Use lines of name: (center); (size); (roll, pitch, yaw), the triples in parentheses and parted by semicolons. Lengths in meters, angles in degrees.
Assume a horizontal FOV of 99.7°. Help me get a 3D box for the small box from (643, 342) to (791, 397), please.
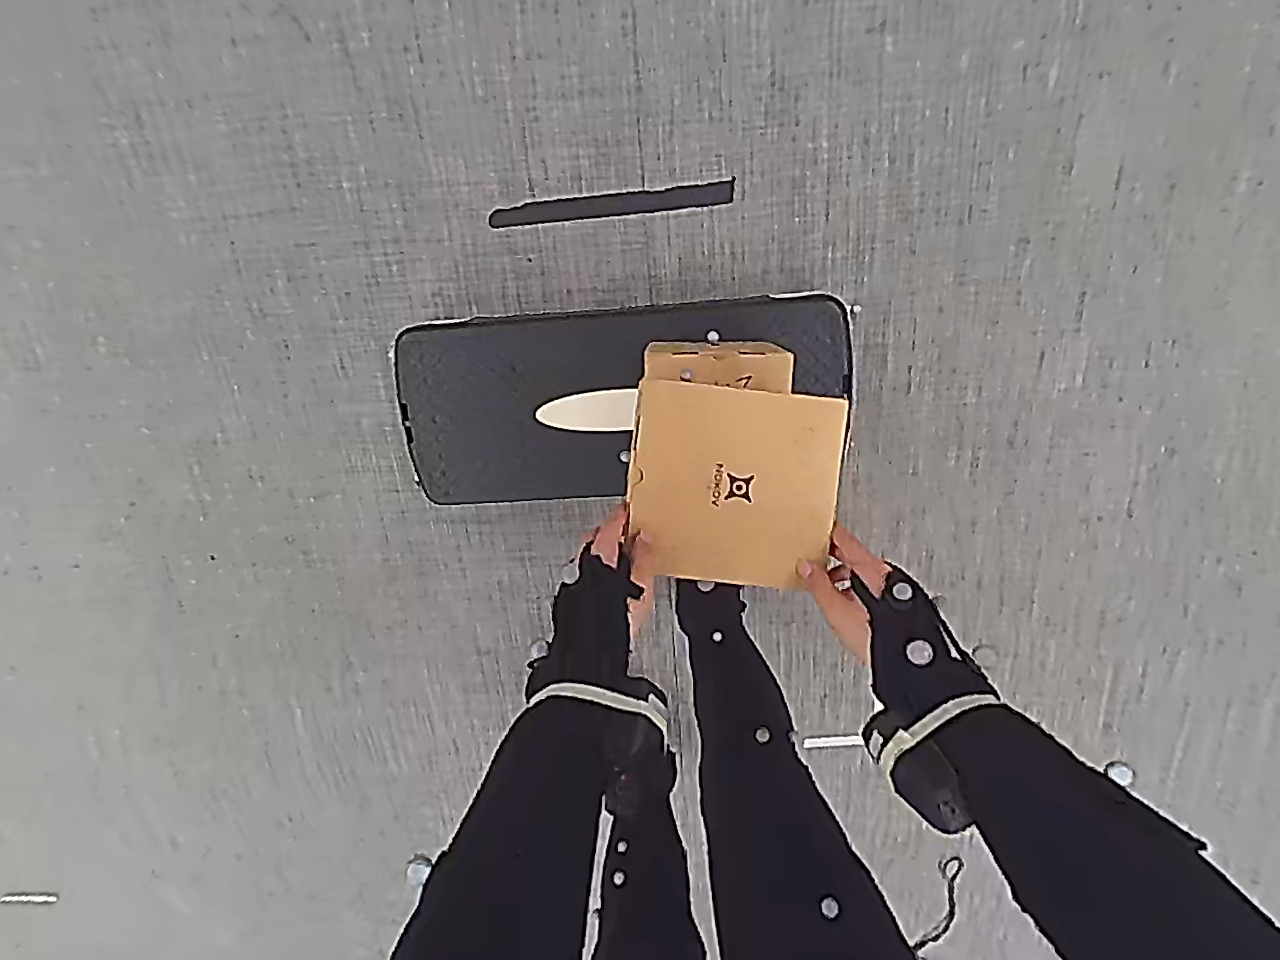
small box: (0.089, -0.082, 0.697); (0.168, 0.176, 0.179); (1, 108, 3)

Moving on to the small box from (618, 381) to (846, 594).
small box: (0.075, 0.002, 0.528); (0.179, 0.176, 0.168); (6, 93, 0)
